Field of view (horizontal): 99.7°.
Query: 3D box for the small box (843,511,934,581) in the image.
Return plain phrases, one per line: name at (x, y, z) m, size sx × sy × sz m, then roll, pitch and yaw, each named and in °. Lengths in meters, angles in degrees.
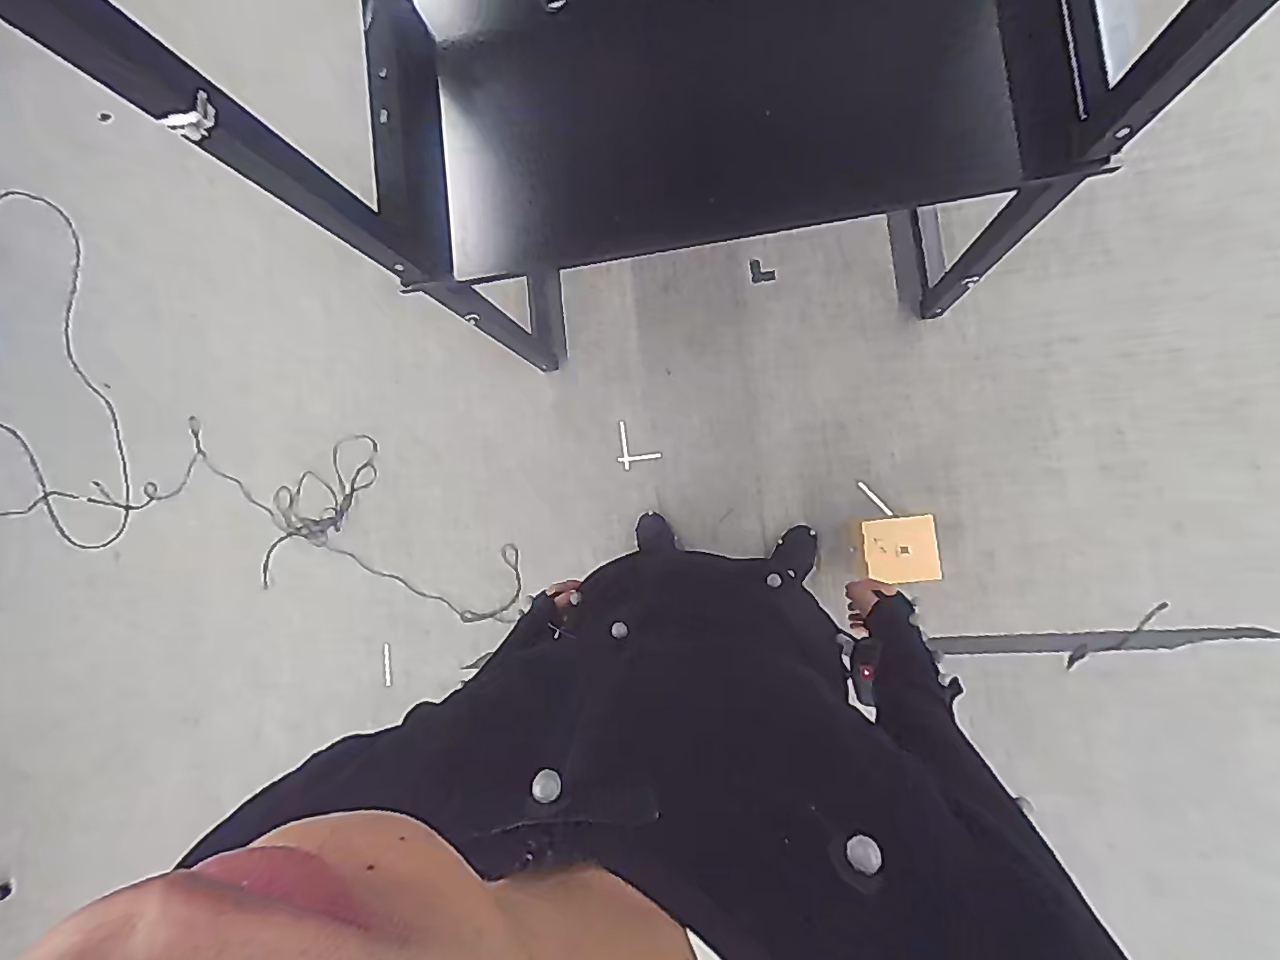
small box at (0.663, 0.174, 1.458) m, size 0.179 × 0.176 × 0.168 m, roll -7°, pitch 87°, yaw 10°
